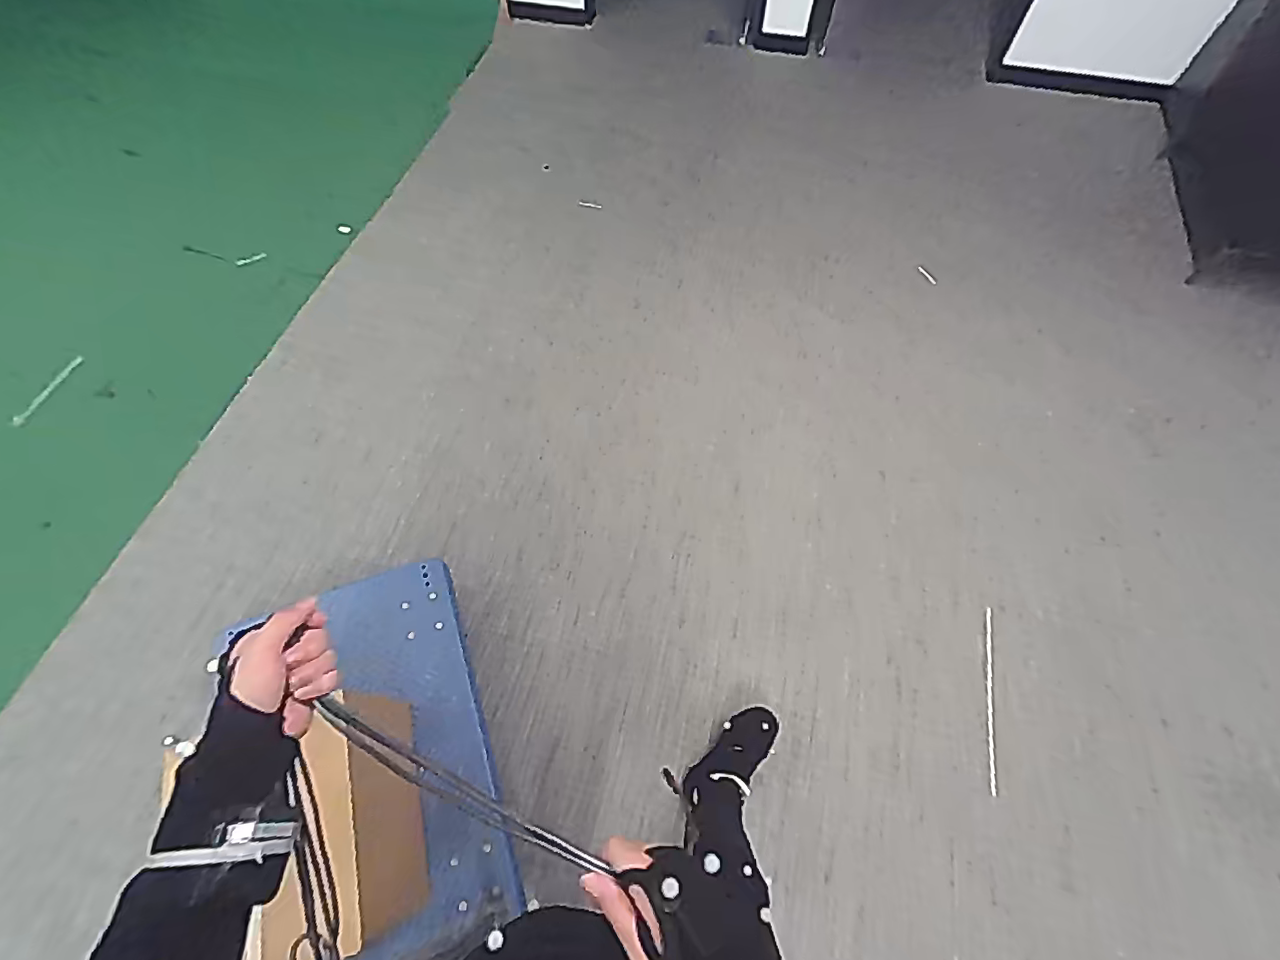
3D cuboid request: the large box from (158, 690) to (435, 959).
[{"bbox_3d":[-0.619,0.662,1.017,0.320,0.320,0.408,-17,64,-8],"label":"large box"}]
